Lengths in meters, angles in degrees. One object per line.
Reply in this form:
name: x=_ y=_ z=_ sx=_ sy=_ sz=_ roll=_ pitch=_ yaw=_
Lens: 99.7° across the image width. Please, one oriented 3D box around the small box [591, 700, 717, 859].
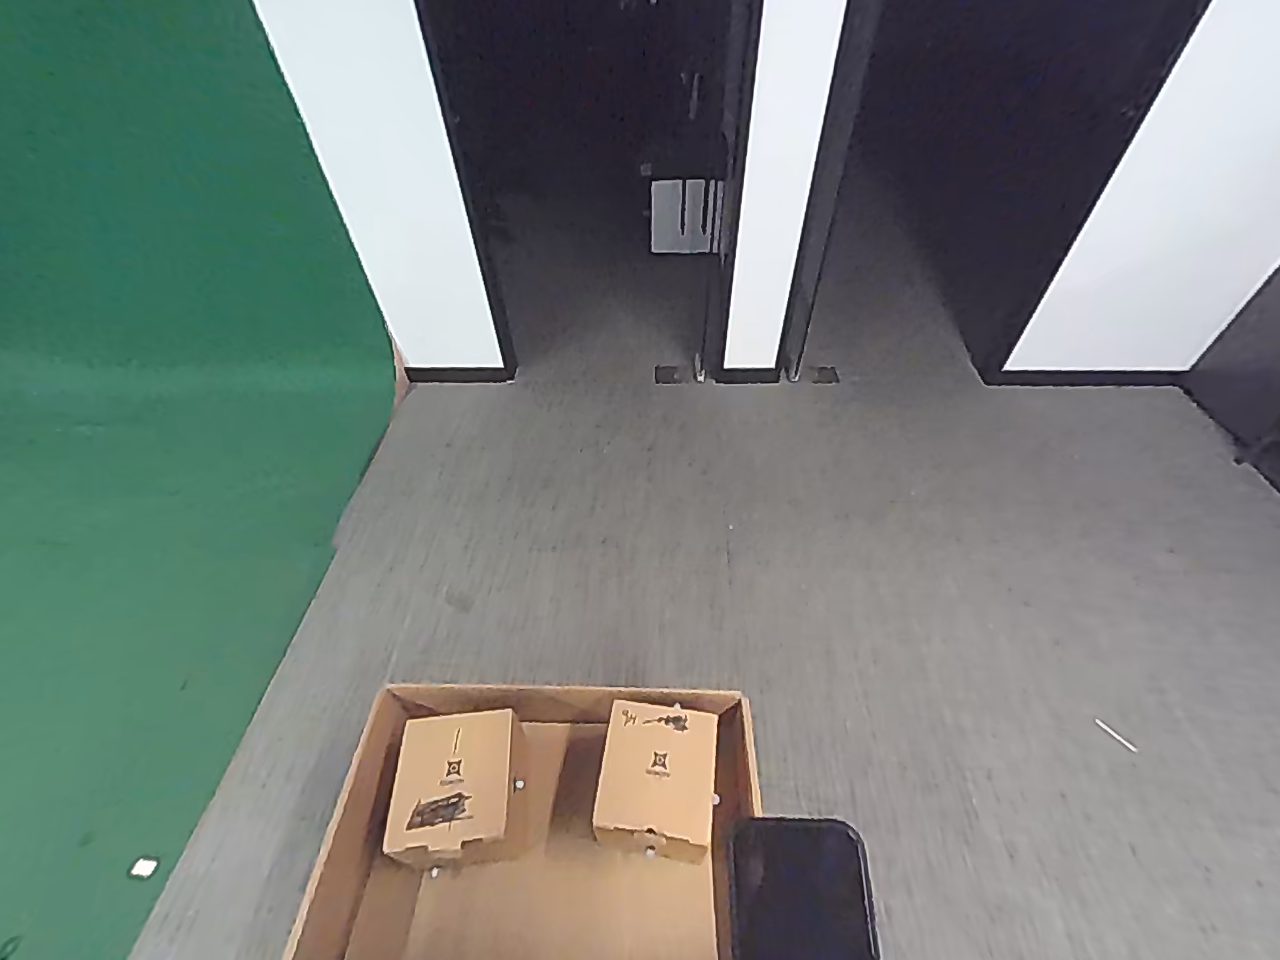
small box: x=0.029 y=0.472 z=0.846 sx=0.168 sy=0.176 sz=0.179 roll=6 pitch=49 yaw=7
